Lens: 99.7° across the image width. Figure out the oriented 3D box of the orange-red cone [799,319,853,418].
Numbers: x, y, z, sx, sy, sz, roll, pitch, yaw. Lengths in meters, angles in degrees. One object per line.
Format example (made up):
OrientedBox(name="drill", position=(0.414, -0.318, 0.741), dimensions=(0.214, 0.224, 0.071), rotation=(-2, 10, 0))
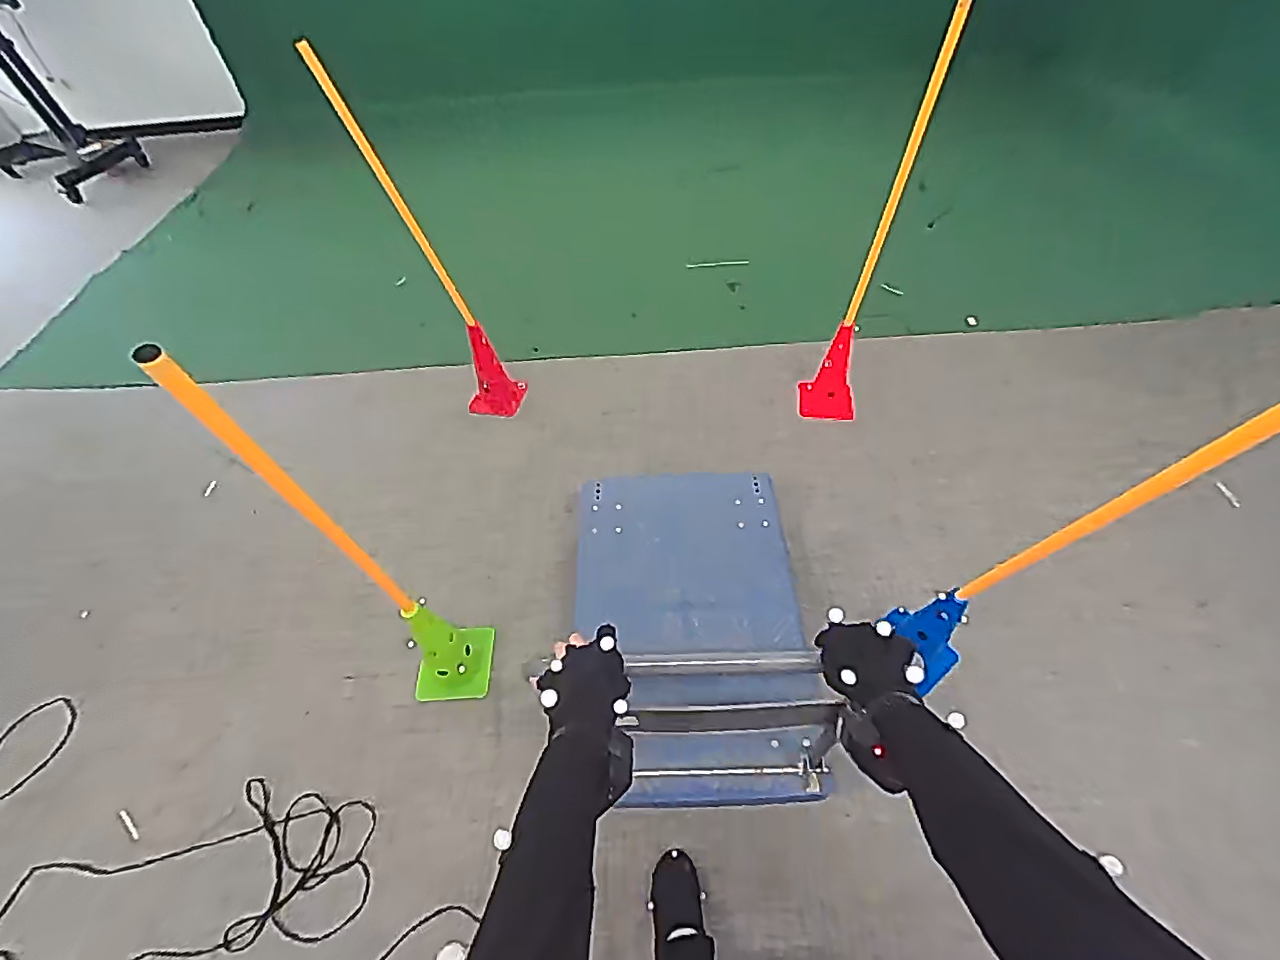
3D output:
OrientedBox(name="orange-red cone", position=(0.702, -0.417, 1.943), dimensions=(0.198, 0.360, 0.199), rotation=(5, 54, 9))
